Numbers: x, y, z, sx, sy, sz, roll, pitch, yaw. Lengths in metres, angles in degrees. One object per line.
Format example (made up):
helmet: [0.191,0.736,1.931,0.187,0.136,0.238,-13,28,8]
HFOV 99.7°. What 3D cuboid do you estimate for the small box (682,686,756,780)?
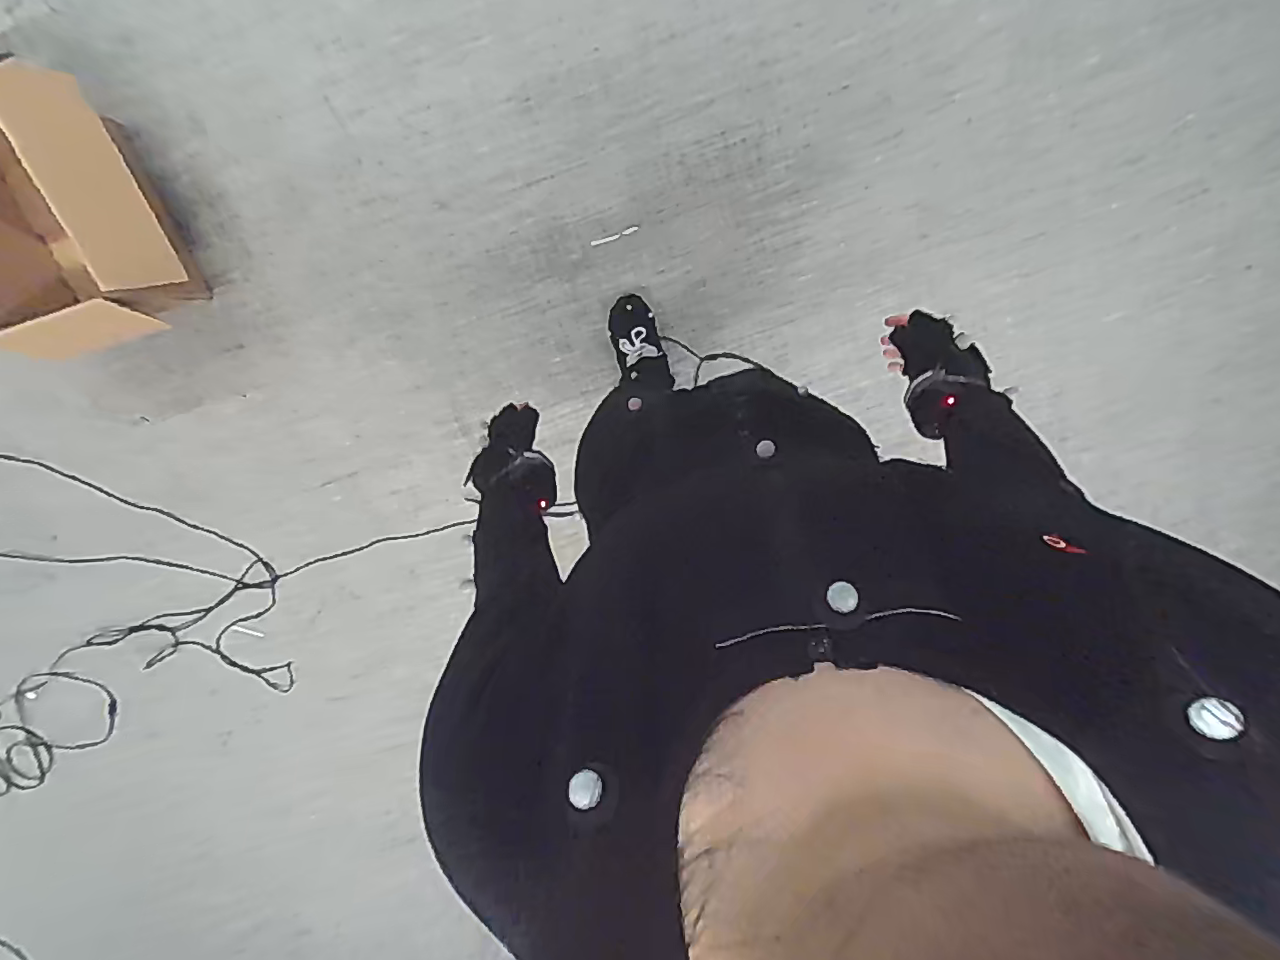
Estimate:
small box: [0.232,0.767,1.651,0.179,0.176,0.168,-20,106,4]

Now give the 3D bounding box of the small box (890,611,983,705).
small box: [0.869,0.521,1.596,0.168,0.176,0.179,-20,106,4]
